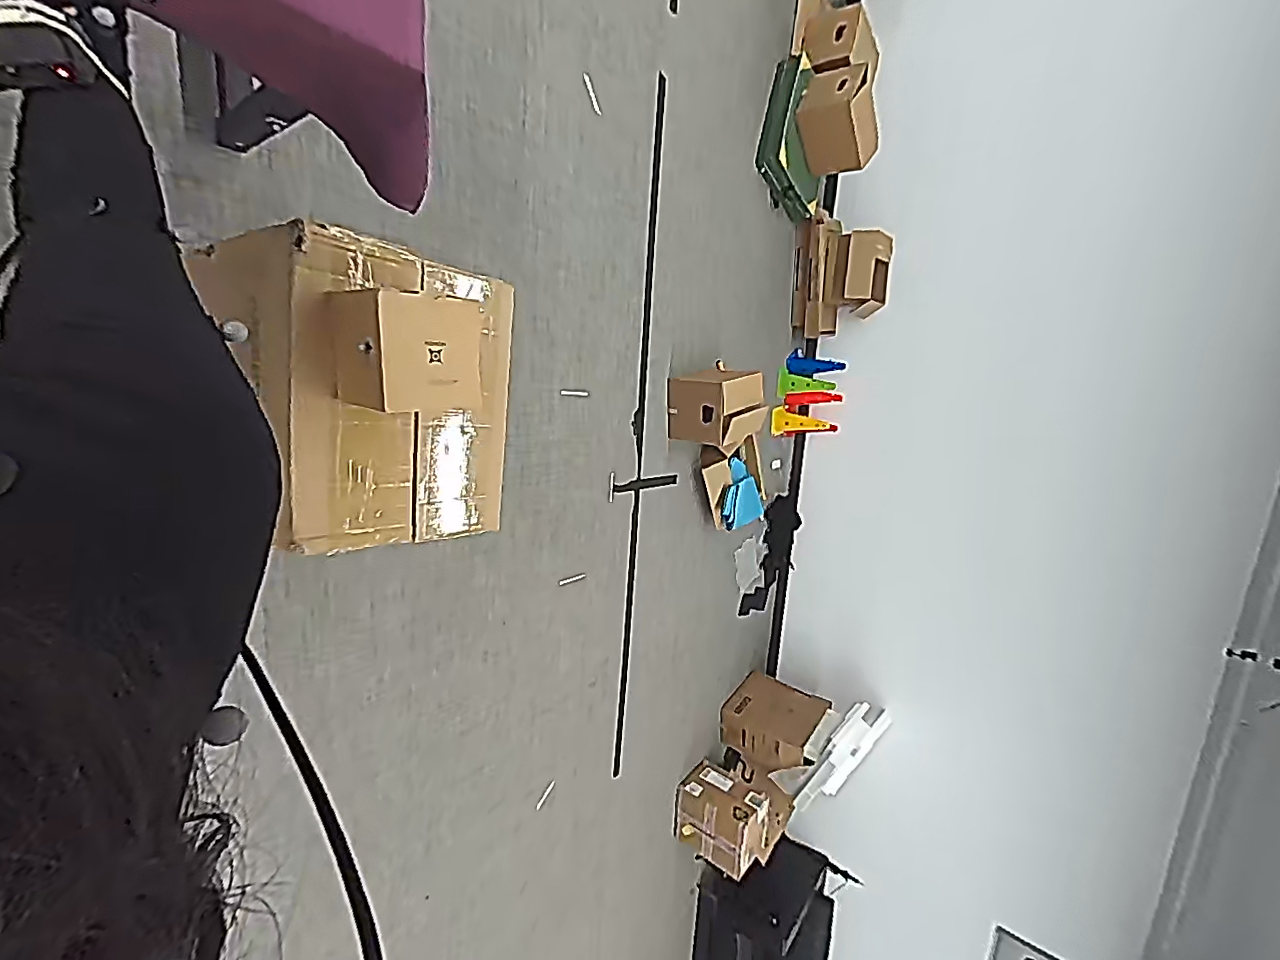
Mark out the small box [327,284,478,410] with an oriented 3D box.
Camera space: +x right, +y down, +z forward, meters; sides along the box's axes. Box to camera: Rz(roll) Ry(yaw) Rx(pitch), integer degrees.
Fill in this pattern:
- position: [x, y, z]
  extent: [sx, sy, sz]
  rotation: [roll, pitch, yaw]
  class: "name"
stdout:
- position: [-0.379, -0.210, 0.865]
  extent: [0.168, 0.176, 0.179]
  rotation: [-13, 111, -49]
  class: "small box"
